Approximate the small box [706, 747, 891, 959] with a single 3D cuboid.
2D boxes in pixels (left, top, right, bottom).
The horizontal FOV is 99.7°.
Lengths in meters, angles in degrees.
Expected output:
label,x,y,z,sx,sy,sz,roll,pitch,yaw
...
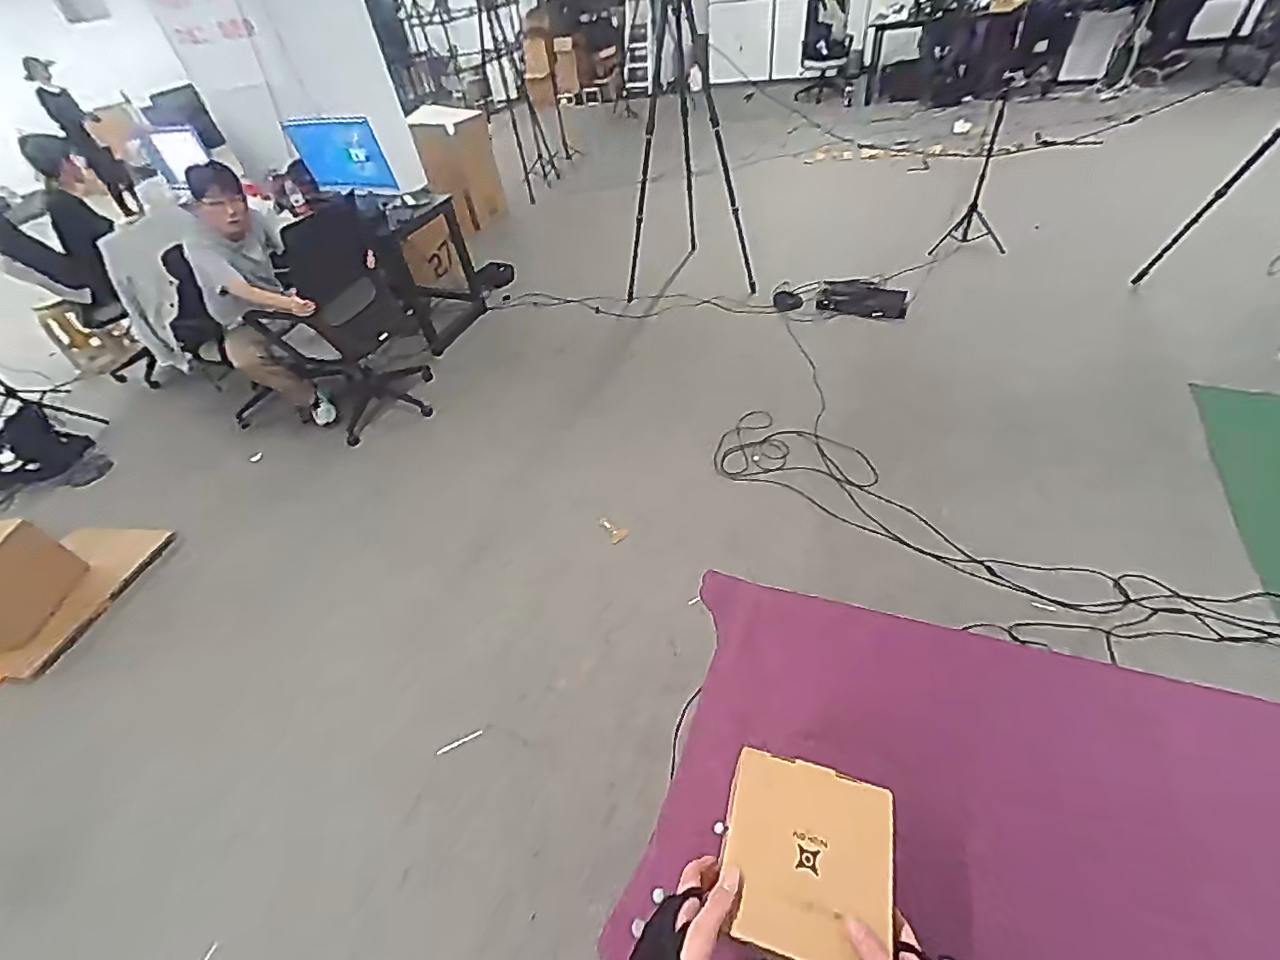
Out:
label,x,y,z,sx,sy,sz,roll,pitch,yaw
small box,0.172,0.440,0.609,0.168,0.176,0.179,11,48,15
